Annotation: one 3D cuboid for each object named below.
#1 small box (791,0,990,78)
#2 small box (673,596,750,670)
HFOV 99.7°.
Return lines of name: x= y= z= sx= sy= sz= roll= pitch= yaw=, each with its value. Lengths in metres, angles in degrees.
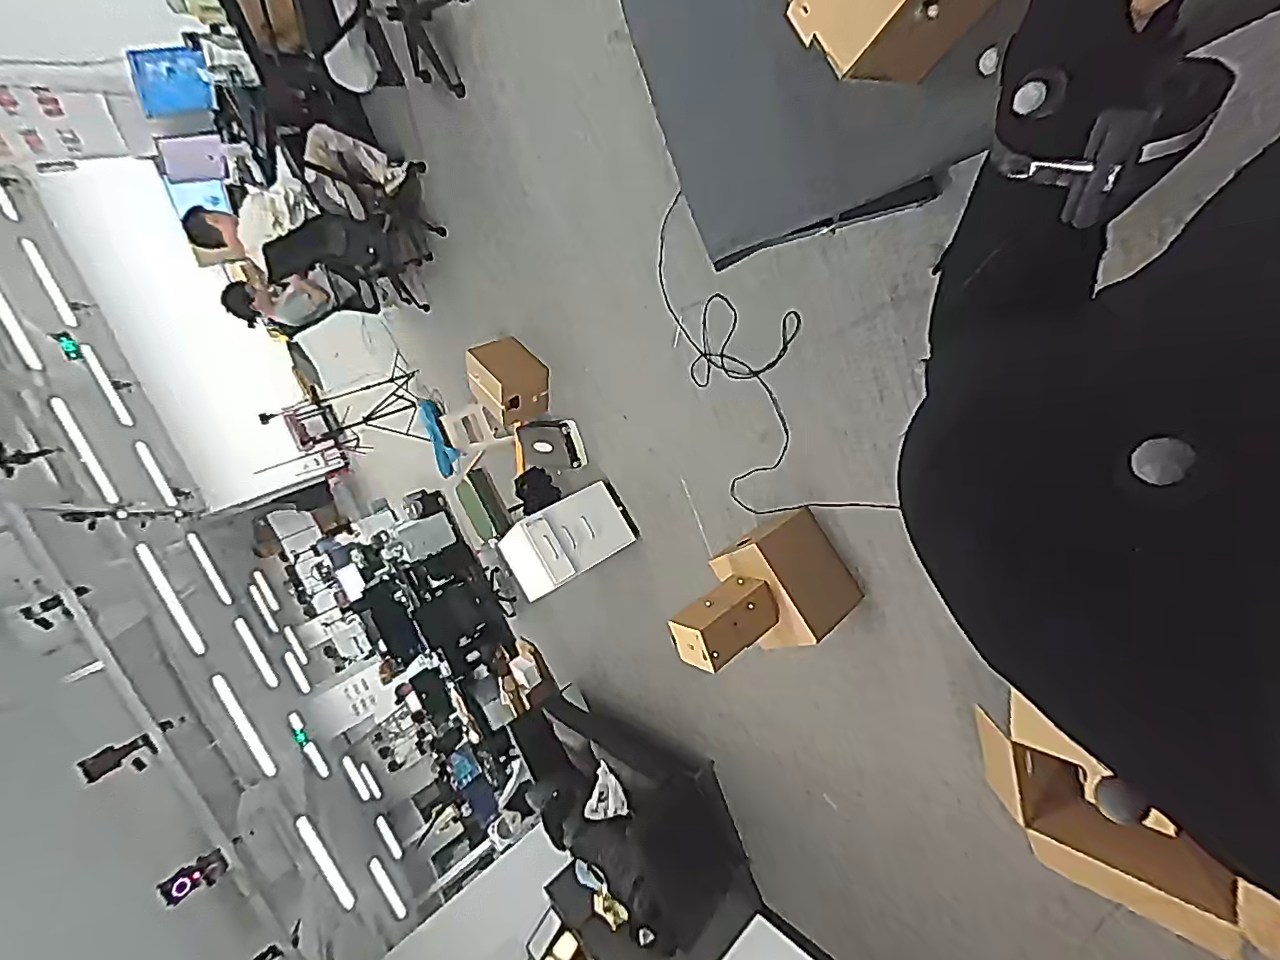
small box: x=0.271 y=-0.547 z=0.543 sx=0.168 sy=0.176 sz=0.179 roll=60 pitch=147 yaw=3
small box: x=0.249 y=0.518 z=1.863 sx=0.179 sy=0.176 sz=0.168 roll=0 pitch=114 yaw=57
